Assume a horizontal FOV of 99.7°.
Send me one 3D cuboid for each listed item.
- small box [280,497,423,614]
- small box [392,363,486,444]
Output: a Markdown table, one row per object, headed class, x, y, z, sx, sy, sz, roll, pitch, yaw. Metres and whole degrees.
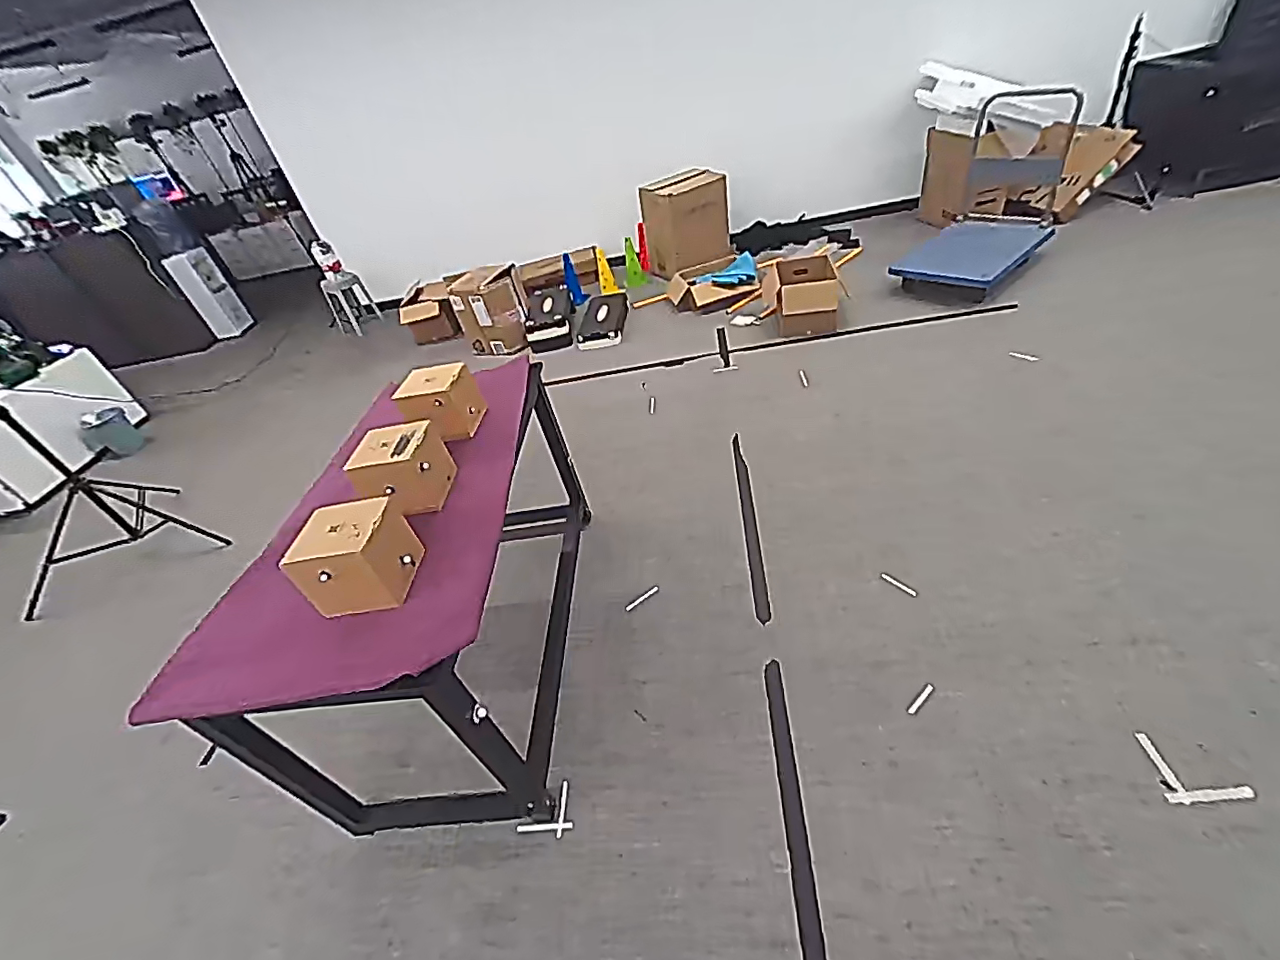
| class | x | y | z | sx | sy | sz | roll | pitch | yaw |
| --- | --- | --- | --- | --- | --- | --- | --- | --- | --- |
| small box | -0.590 | 0.162 | 1.132 | 0.179 | 0.176 | 0.168 | -9 | 38 | 6 |
| small box | -0.584 | -0.221 | 1.597 | 0.179 | 0.176 | 0.168 | -7 | 40 | 11 |
